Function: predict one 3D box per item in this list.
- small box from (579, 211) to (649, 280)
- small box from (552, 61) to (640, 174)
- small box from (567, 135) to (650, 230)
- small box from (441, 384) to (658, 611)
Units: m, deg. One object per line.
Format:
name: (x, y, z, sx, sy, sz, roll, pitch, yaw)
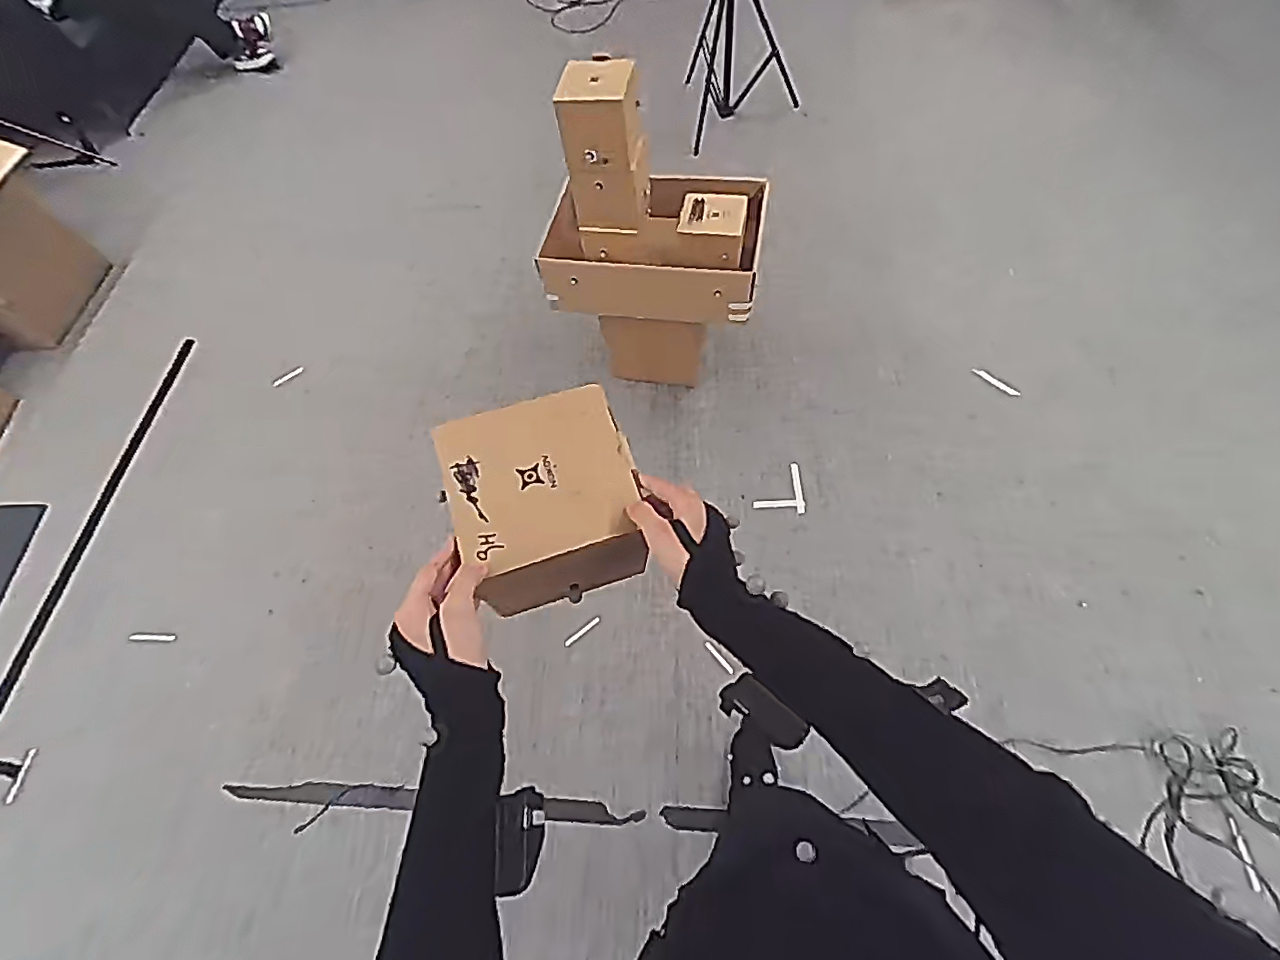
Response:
small box: (-0.069, -0.710, 1.586, 0.168, 0.176, 0.179, 6, 62, 8)
small box: (-0.097, -0.870, 1.301, 0.168, 0.176, 0.179, 5, 62, 9)
small box: (-0.077, -0.794, 1.444, 0.179, 0.176, 0.168, 8, 63, 9)
small box: (-0.094, 0.026, 0.583, 0.179, 0.176, 0.168, -16, 67, -10)
